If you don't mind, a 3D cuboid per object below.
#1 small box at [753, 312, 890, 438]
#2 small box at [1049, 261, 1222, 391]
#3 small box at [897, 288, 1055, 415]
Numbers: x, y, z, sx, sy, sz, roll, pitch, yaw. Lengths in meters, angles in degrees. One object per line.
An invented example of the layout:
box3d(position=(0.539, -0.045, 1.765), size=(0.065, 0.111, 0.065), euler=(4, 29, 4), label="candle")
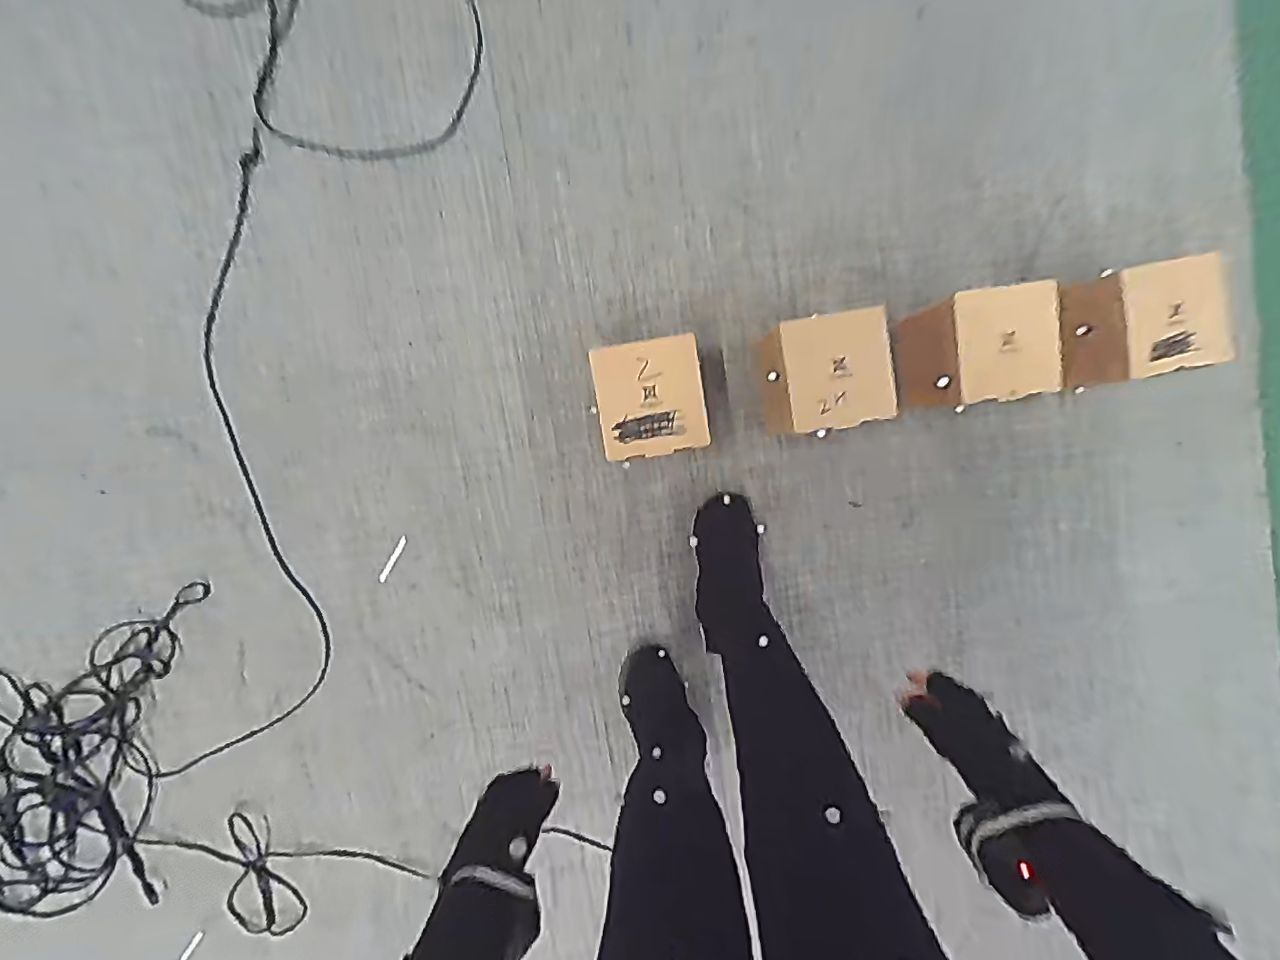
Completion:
box3d(position=(0.297, -0.169, 0.918), size=(0.168, 0.176, 0.179), euler=(-9, 95, 0), label="small box")
box3d(position=(0.828, -0.252, 0.932), size=(0.168, 0.176, 0.179), euler=(-11, 94, -1), label="small box")
box3d(position=(0.562, -0.211, 0.927), size=(0.168, 0.176, 0.179), euler=(-8, 95, -2), label="small box")
